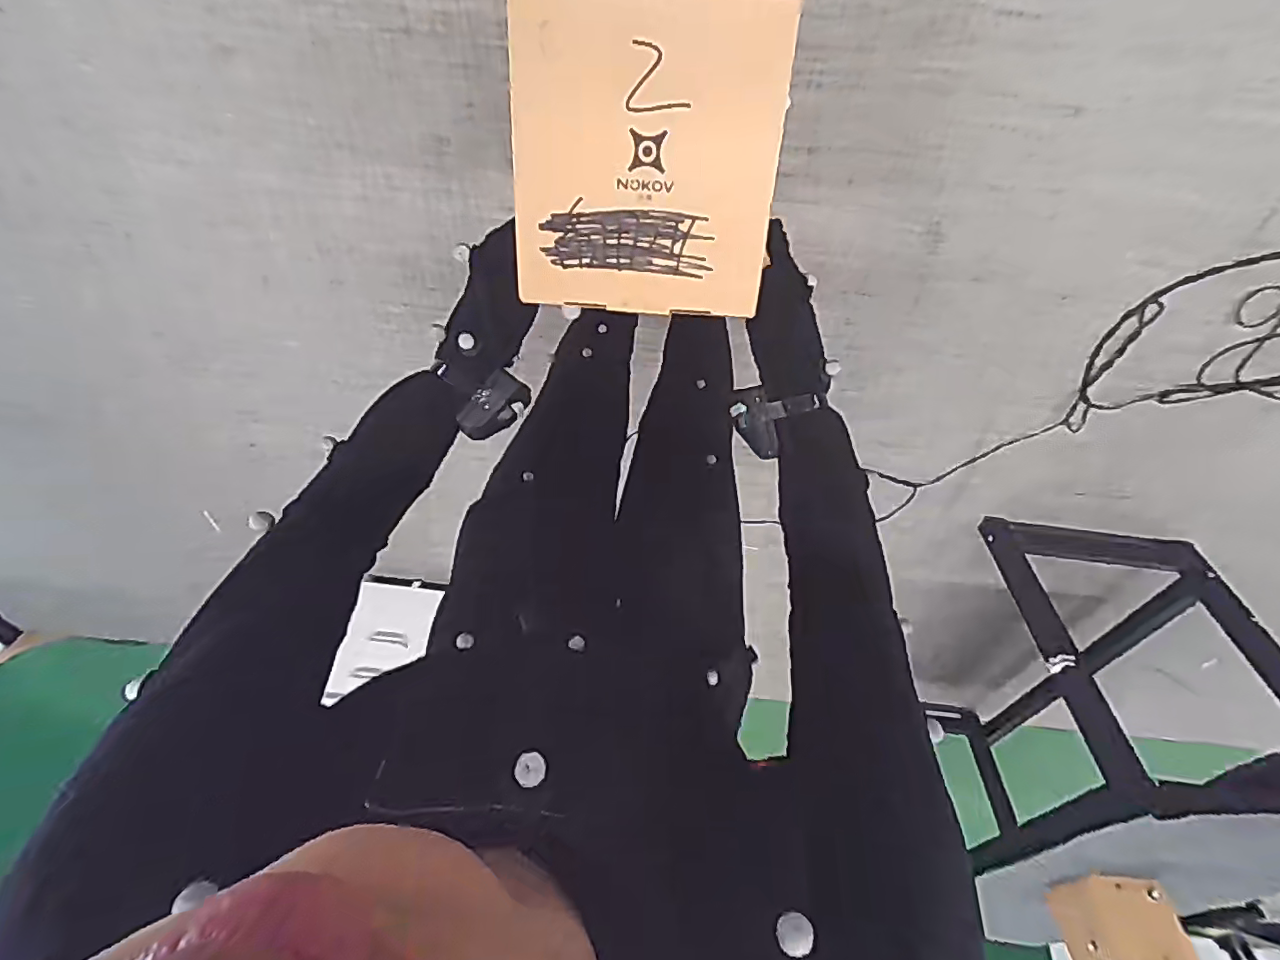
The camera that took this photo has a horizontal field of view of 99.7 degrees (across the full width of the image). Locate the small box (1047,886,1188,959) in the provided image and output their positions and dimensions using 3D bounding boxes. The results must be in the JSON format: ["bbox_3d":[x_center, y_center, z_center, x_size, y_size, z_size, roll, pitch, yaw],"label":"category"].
[{"bbox_3d":[1.075,1.040,1.220,0.168,0.176,0.179,5,133,2],"label":"small box"}]

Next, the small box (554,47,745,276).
[{"bbox_3d":[0.005,-0.312,0.559,0.168,0.176,0.179,2,115,0],"label":"small box"}]
